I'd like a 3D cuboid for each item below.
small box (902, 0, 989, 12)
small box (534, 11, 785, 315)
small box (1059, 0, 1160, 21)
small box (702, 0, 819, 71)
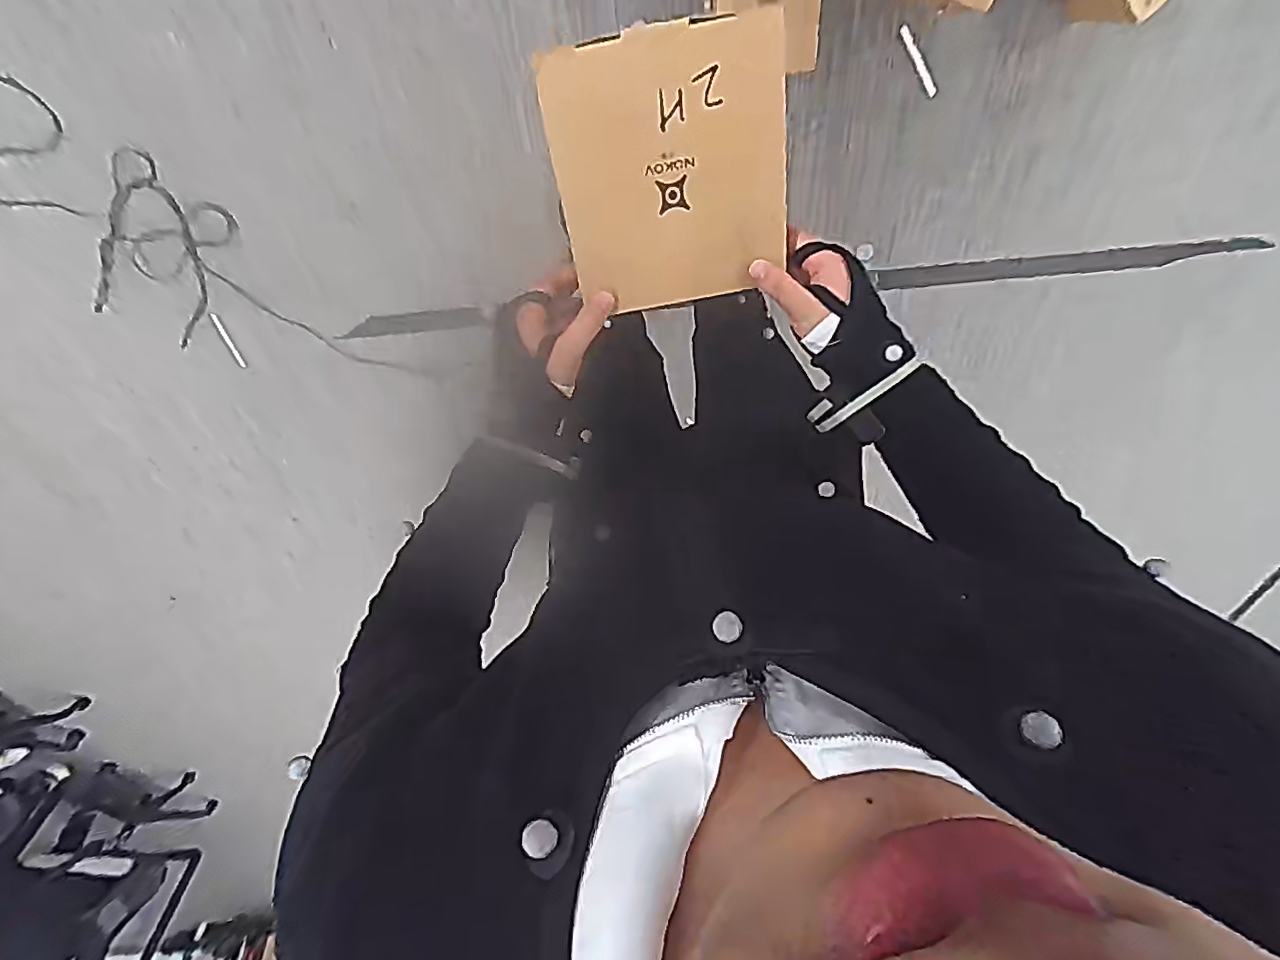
[{"bbox_3d":[0.480,-0.868,0.848,0.179,0.176,0.168,12,128,-11],"label":"small box"},{"bbox_3d":[0.018,-0.262,0.459,0.168,0.176,0.179,-10,124,1],"label":"small box"},{"bbox_3d":[0.783,-0.876,0.851,0.168,0.176,0.179,31,123,-24],"label":"small box"},{"bbox_3d":[0.194,-0.791,0.900,0.168,0.176,0.179,-6,132,3],"label":"small box"}]
